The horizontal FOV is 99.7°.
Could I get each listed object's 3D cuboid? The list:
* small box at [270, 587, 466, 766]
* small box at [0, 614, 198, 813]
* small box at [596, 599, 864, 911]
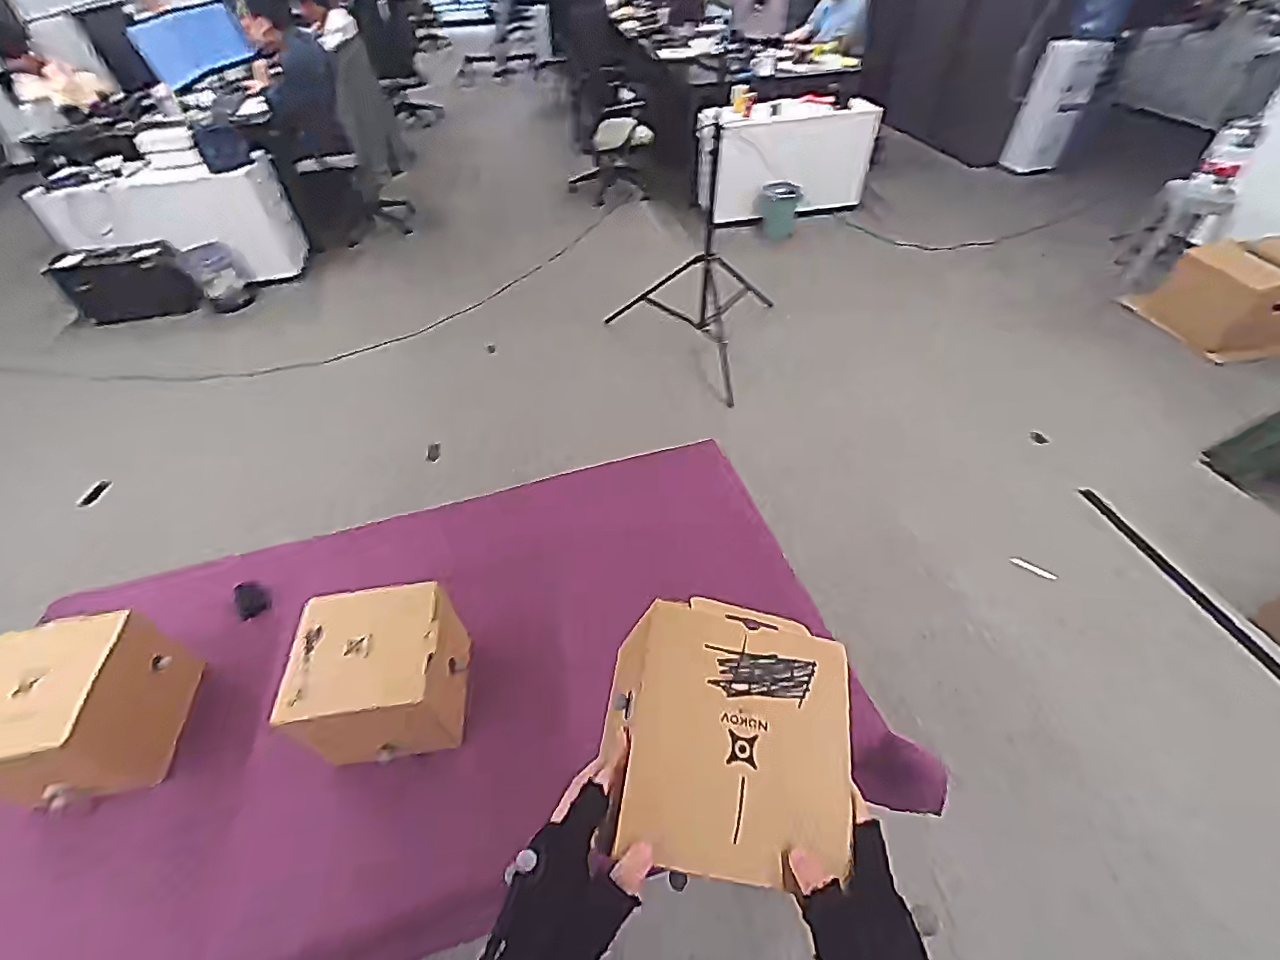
[{"bbox_3d":[-0.345,0.266,0.731,0.179,0.176,0.168,-6,47,-5],"label":"small box"},{"bbox_3d":[-0.734,0.306,0.708,0.168,0.176,0.179,-10,48,-7],"label":"small box"},{"bbox_3d":[0.065,0.225,0.454,0.168,0.176,0.179,15,58,-4],"label":"small box"}]
